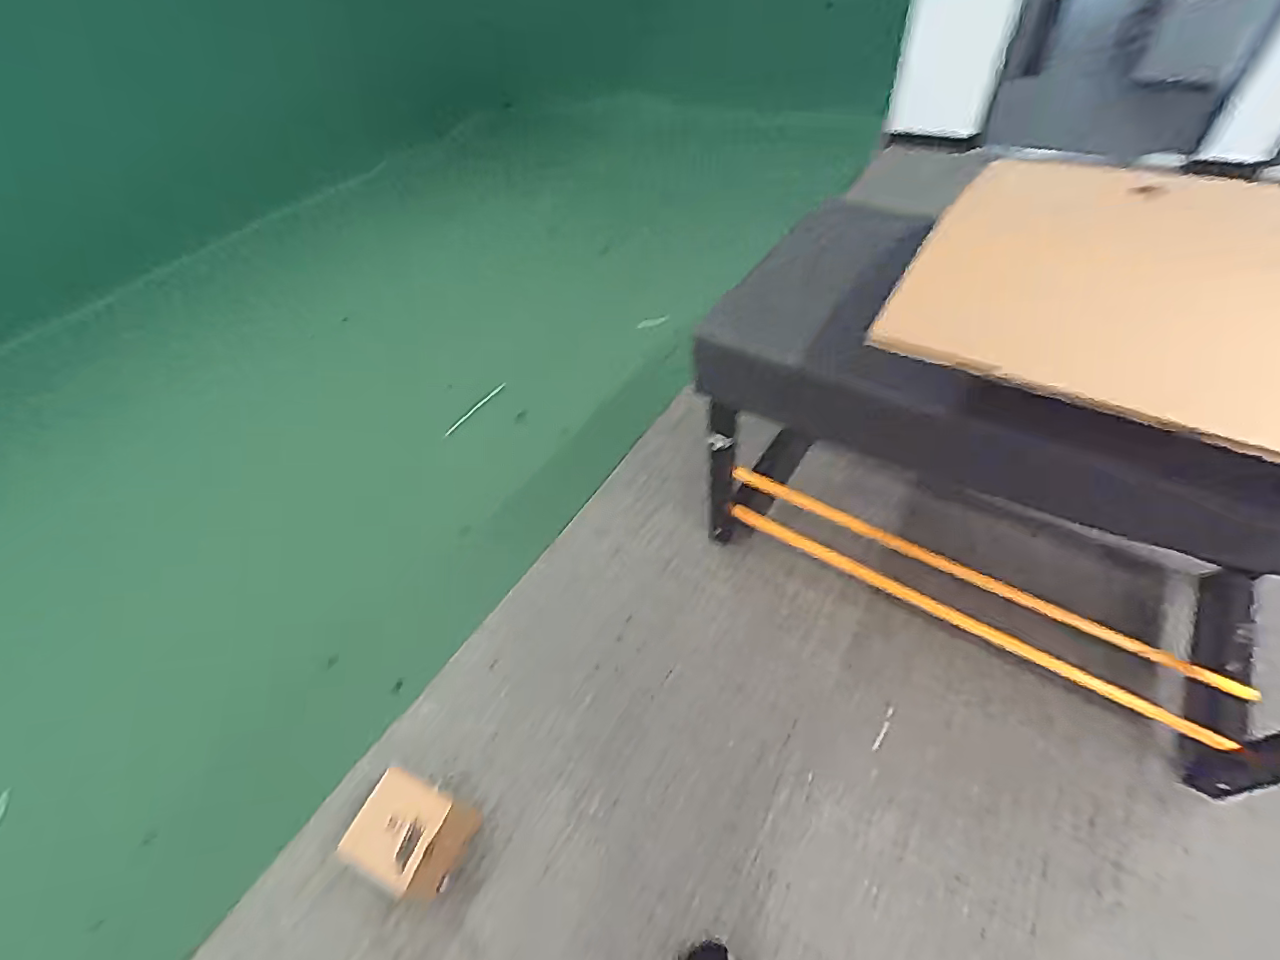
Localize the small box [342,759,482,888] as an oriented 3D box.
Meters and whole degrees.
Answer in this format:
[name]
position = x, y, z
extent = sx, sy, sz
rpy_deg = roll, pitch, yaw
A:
[small box]
position = -0.464, 0.720, 1.131
extent = 0.179, 0.176, 0.168
rpy_deg = 16, 55, 21
